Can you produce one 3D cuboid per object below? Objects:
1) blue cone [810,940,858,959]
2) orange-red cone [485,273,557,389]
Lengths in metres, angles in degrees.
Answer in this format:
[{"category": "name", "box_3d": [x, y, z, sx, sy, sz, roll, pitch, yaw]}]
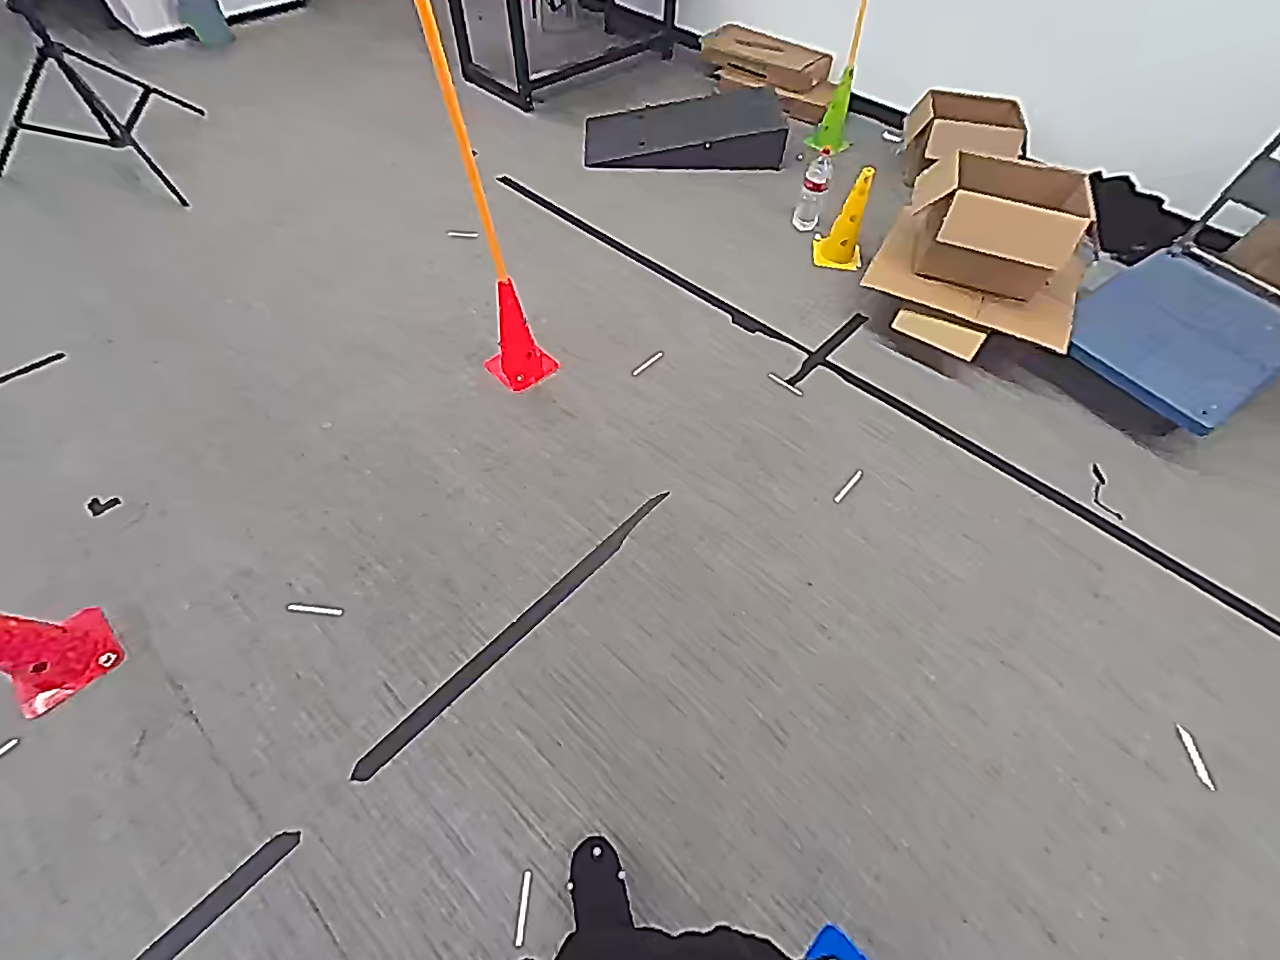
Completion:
[{"category": "blue cone", "box_3d": [0.383, 0.915, 0.869, 0.192, 0.380, 0.193, -38, 65, -23]}, {"category": "orange-red cone", "box_3d": [-0.408, -0.504, 1.746, 0.199, 0.360, 0.198, -38, 66, -25]}]
